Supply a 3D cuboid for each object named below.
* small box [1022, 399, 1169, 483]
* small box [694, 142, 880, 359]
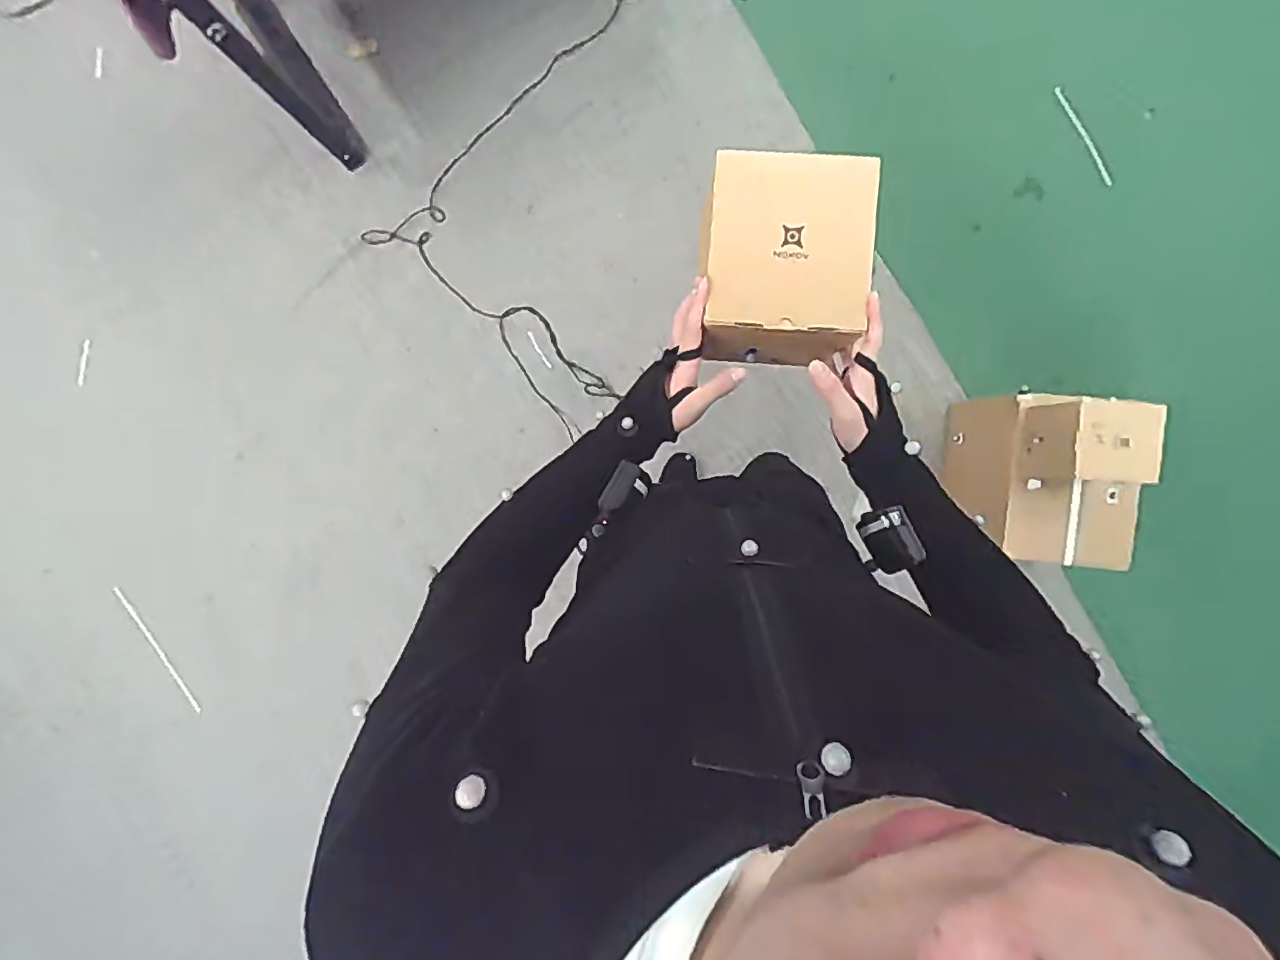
[{"bbox_3d":[0.998,-0.086,1.197,0.179,0.176,0.168,4,93,2],"label":"small box"},{"bbox_3d":[0.152,-0.246,0.616,0.168,0.176,0.179,3,92,1],"label":"small box"}]
